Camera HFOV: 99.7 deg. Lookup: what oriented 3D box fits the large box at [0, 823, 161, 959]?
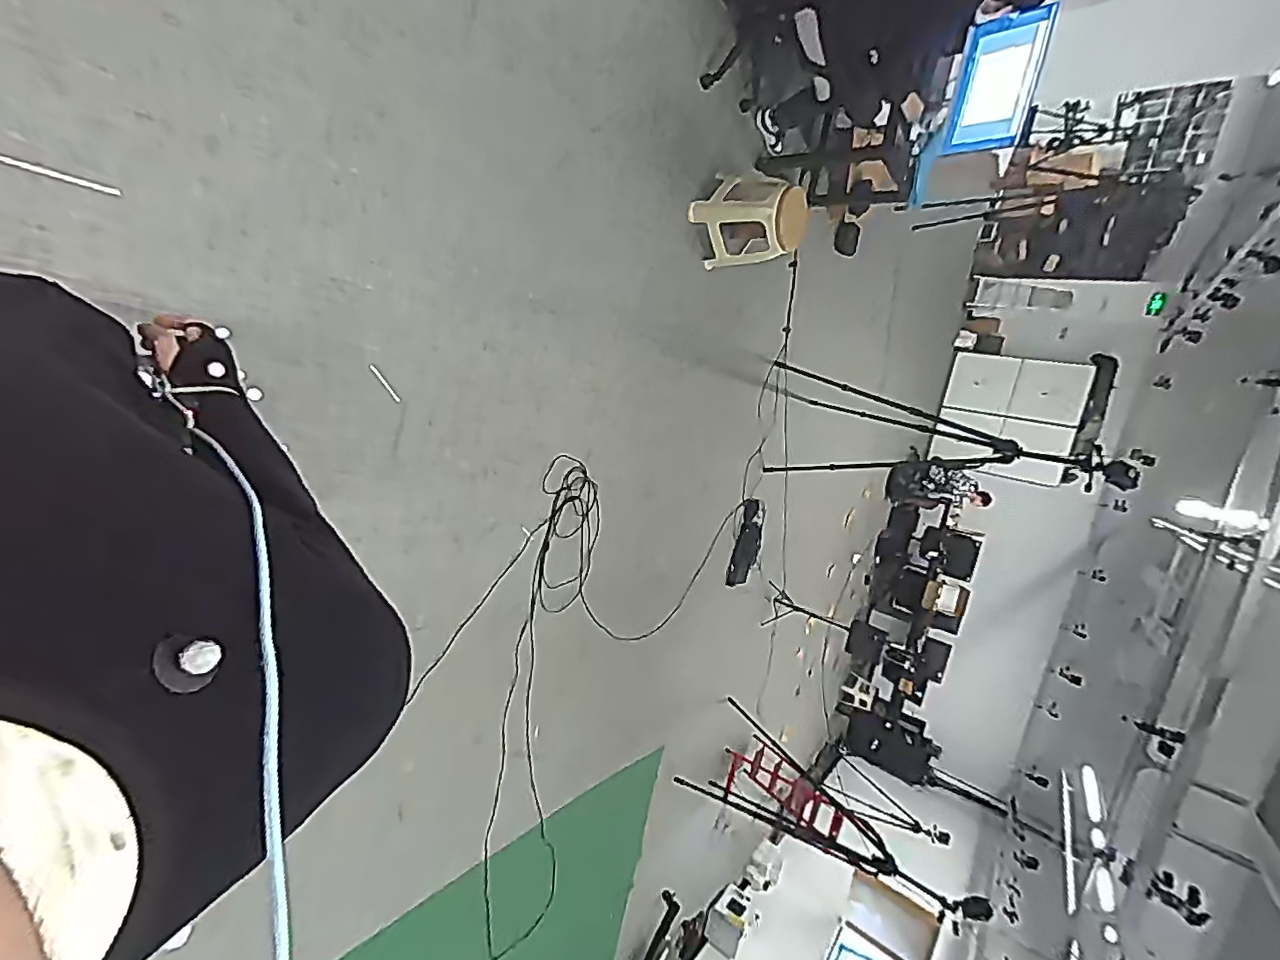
[{"bbox_3d":[-1.375,1.091,1.219,0.408,0.320,0.320,-2,105,-52],"label":"large box"}]
